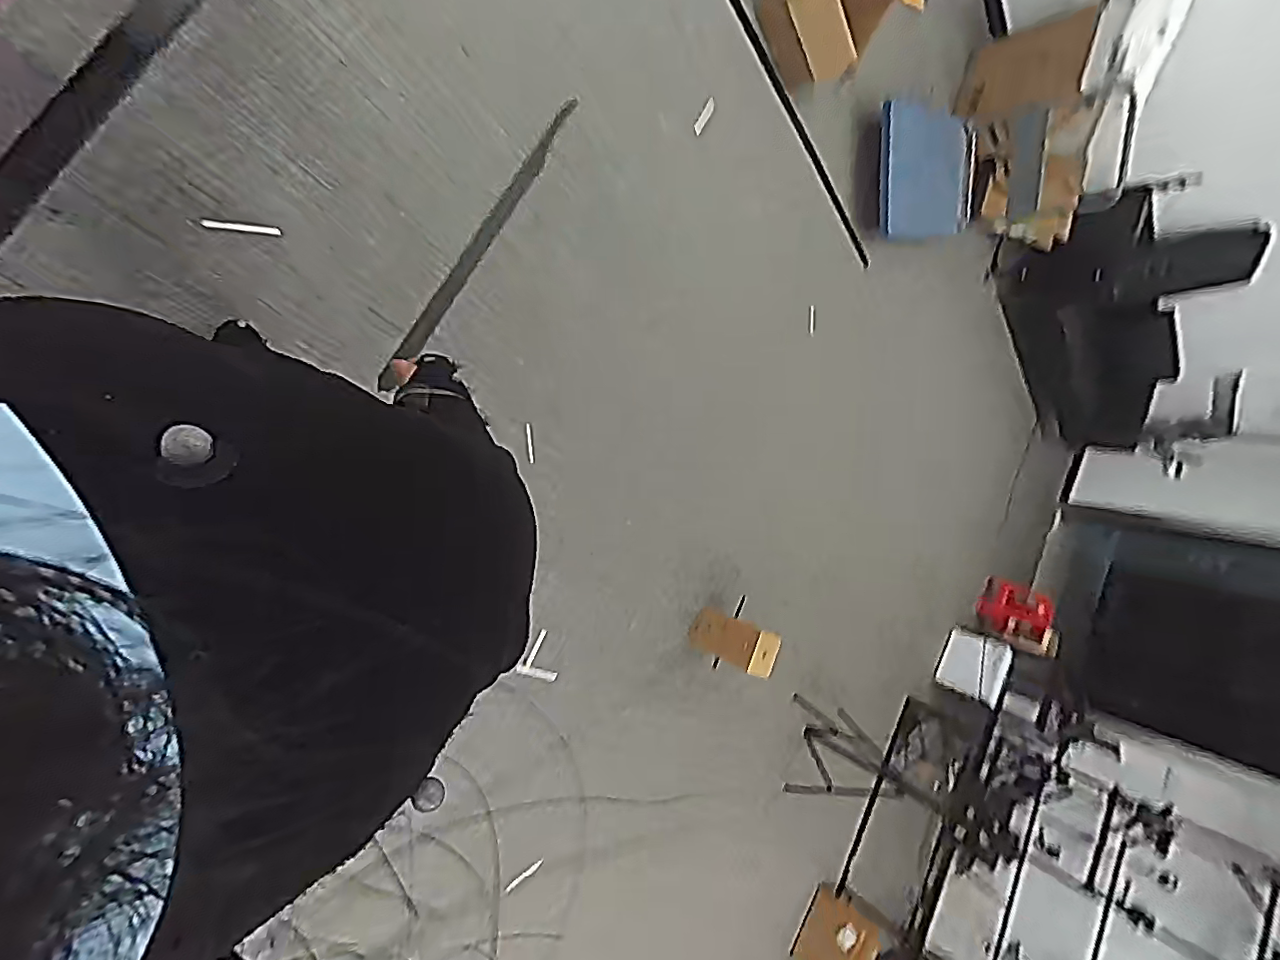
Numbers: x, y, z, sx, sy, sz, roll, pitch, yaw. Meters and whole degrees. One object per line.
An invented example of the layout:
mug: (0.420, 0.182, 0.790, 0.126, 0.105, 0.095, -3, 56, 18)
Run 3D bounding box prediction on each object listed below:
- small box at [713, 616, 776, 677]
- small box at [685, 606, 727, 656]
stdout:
small box: (0.427, 0.685, 2.231, 0.168, 0.176, 0.179, 29, 79, -40)
small box: (0.325, 0.669, 2.357, 0.179, 0.176, 0.168, 40, 73, -39)
